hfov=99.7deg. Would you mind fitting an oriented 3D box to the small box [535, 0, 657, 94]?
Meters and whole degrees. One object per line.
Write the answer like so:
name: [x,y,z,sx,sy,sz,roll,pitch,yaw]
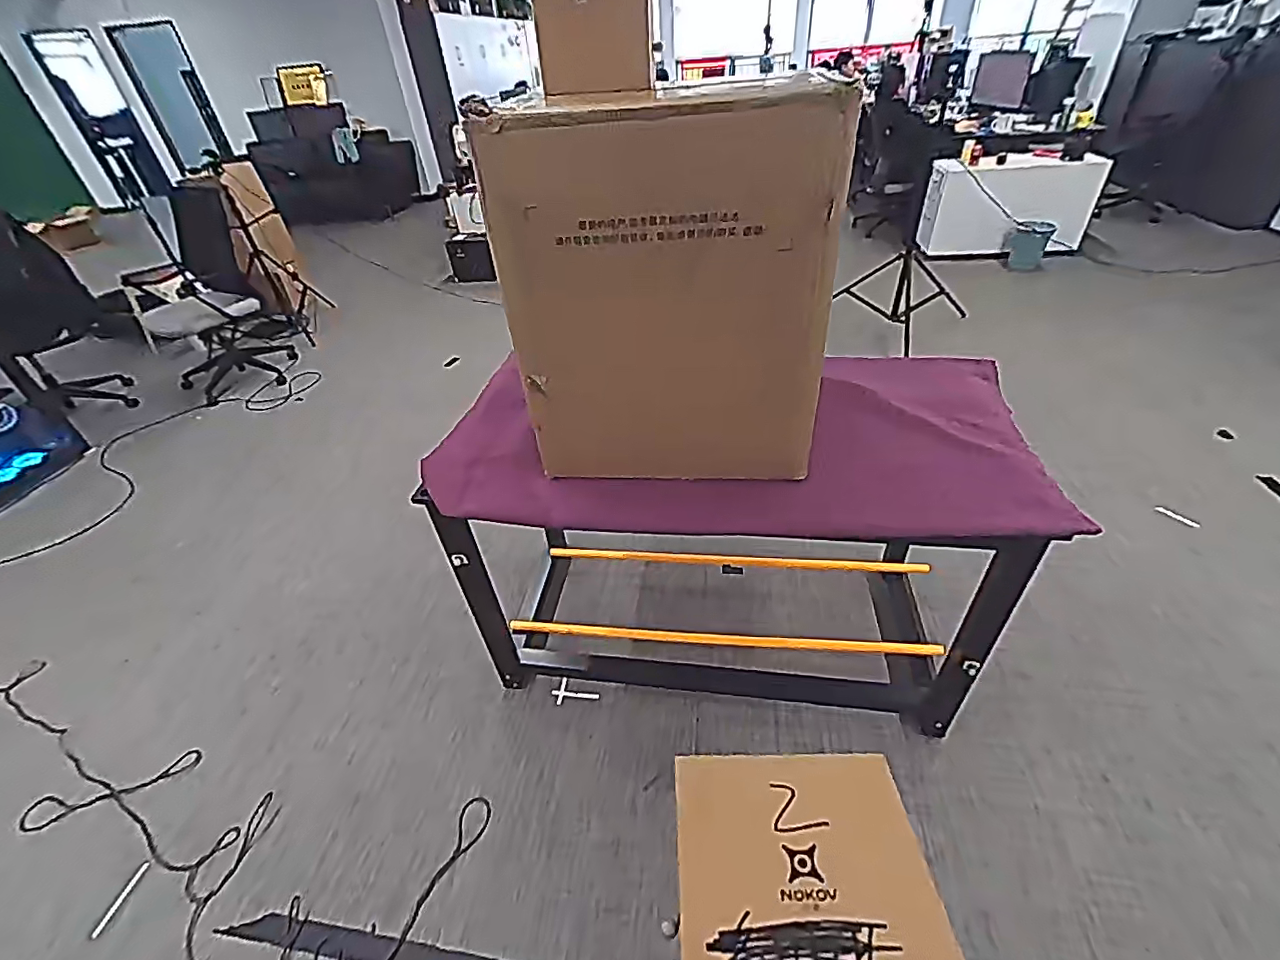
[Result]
small box: [-0.067,-0.732,0.870,0.179,0.176,0.168,1,39,5]
